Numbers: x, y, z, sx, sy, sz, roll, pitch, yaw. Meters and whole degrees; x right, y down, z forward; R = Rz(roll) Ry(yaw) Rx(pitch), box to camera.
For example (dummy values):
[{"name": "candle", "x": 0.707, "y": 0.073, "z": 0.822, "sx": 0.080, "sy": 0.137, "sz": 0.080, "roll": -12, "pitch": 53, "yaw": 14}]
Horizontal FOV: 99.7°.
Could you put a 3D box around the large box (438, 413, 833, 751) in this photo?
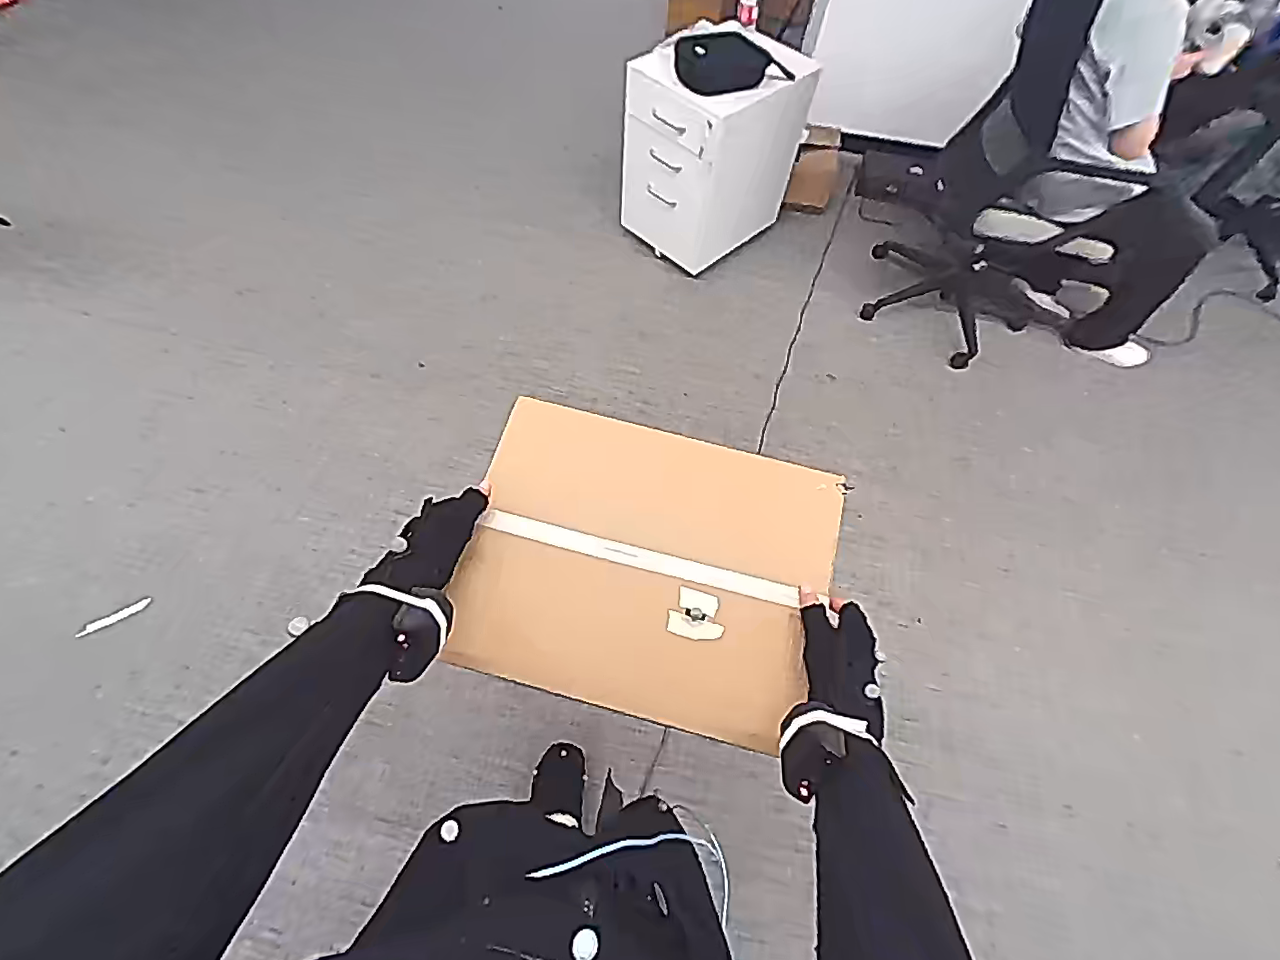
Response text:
[{"name": "large box", "x": 0.001, "y": 0.149, "z": 0.758, "sx": 0.408, "sy": 0.320, "sz": 0.320, "roll": 15, "pitch": 71, "yaw": 3}]
